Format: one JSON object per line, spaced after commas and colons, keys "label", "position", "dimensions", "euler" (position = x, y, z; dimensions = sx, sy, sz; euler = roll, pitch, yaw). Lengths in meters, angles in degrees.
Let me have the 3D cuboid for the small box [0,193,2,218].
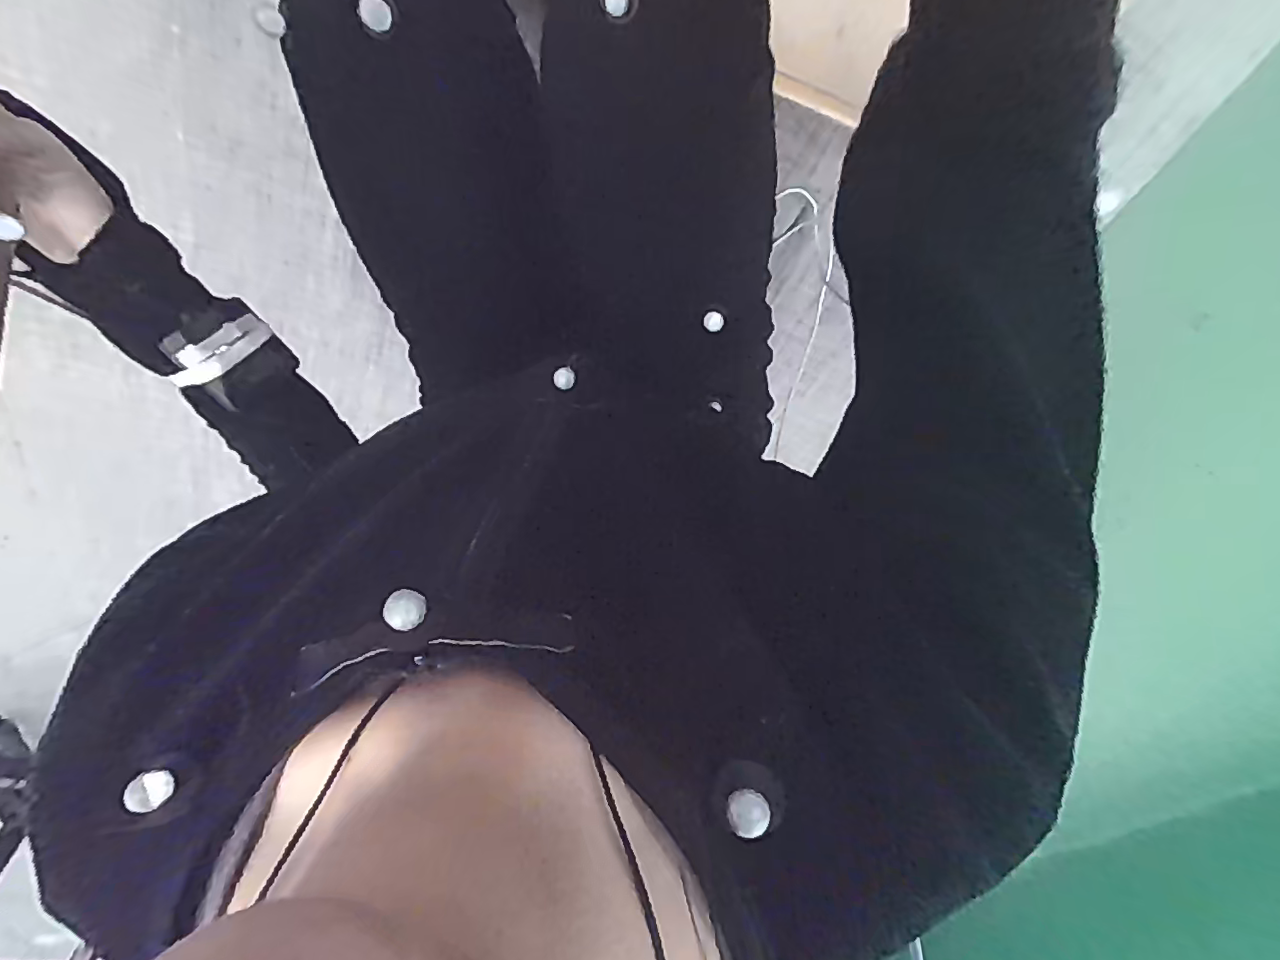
{"label": "small box", "position": [-0.318, -0.116, 0.140], "dimensions": [0.168, 0.179, 0.176], "euler": [-5, 151, -37]}
